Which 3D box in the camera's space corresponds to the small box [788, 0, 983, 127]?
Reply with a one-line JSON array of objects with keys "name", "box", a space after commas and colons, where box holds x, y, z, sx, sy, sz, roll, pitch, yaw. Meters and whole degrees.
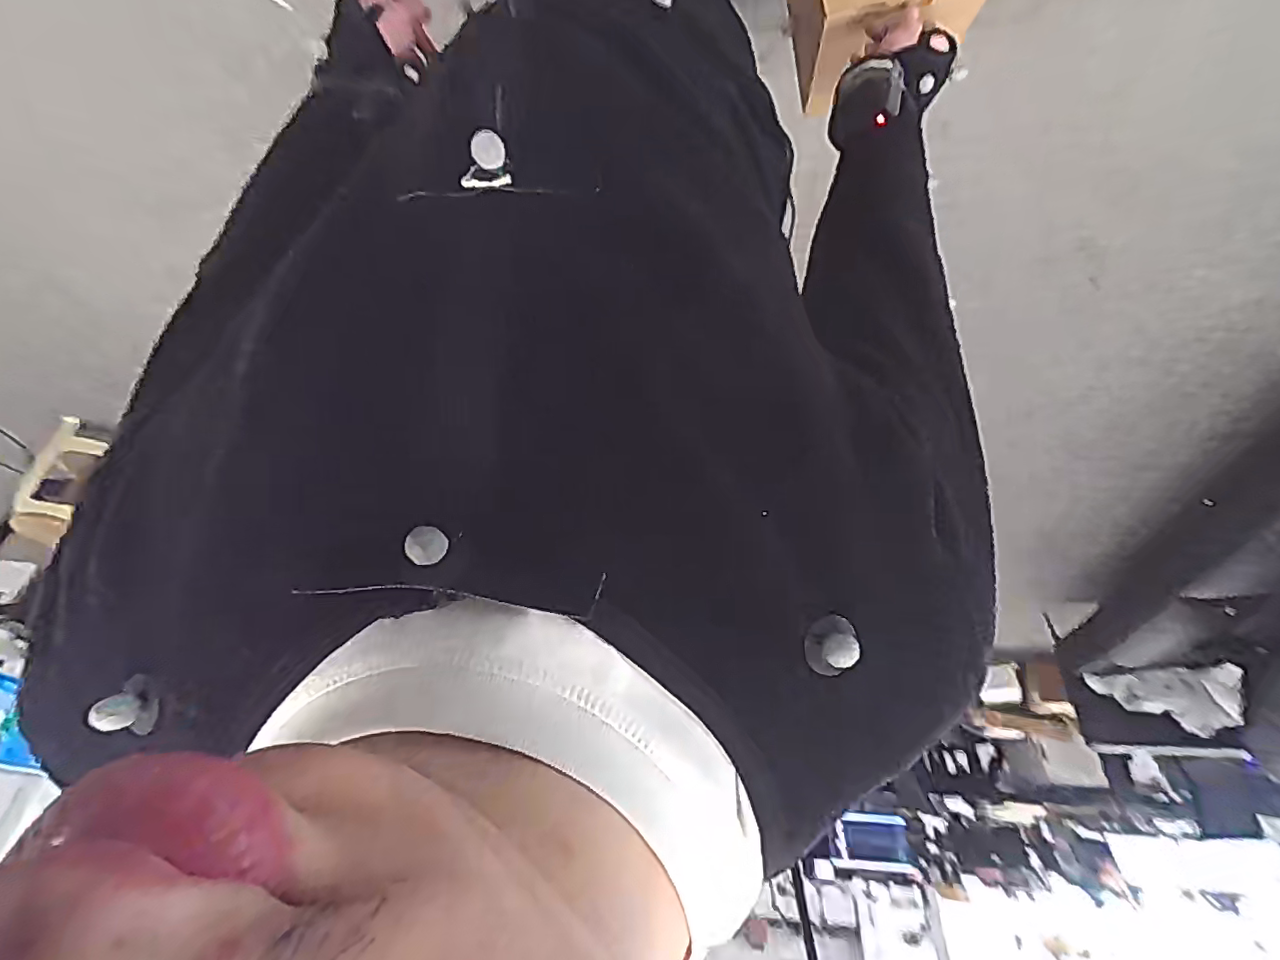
[{"name": "small box", "box": [0.268, -0.541, 0.613, 0.168, 0.179, 0.176, -11, 177, 12]}]
